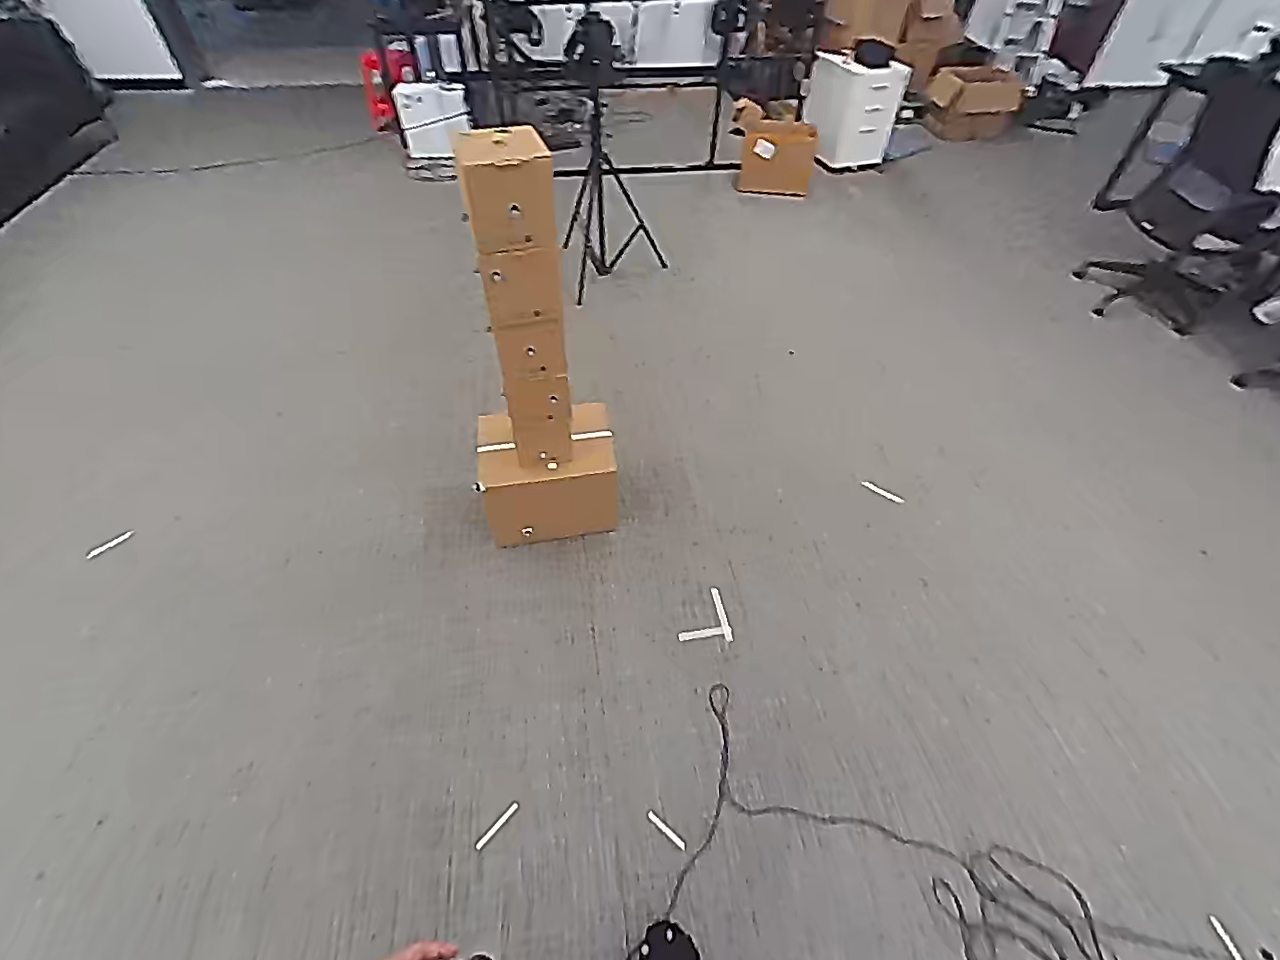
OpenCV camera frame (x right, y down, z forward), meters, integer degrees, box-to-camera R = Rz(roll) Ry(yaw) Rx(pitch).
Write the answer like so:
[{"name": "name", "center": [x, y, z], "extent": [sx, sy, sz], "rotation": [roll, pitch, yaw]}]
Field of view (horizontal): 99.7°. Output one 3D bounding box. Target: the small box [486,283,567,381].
[{"name": "small box", "center": [-0.280, -0.362, 1.347], "extent": [0.168, 0.176, 0.179], "rotation": [-11, 51, -13]}]

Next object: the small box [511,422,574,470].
[{"name": "small box", "center": [-0.288, -0.152, 1.597], "extent": [0.168, 0.176, 0.179], "rotation": [-8, 51, -8]}]

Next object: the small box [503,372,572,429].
[{"name": "small box", "center": [-0.279, -0.254, 1.471], "extent": [0.168, 0.176, 0.179], "rotation": [-8, 50, -10]}]

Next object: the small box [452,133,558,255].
[{"name": "small box", "center": [-0.269, -0.572, 1.095], "extent": [0.168, 0.176, 0.179], "rotation": [-14, 53, -14]}]
